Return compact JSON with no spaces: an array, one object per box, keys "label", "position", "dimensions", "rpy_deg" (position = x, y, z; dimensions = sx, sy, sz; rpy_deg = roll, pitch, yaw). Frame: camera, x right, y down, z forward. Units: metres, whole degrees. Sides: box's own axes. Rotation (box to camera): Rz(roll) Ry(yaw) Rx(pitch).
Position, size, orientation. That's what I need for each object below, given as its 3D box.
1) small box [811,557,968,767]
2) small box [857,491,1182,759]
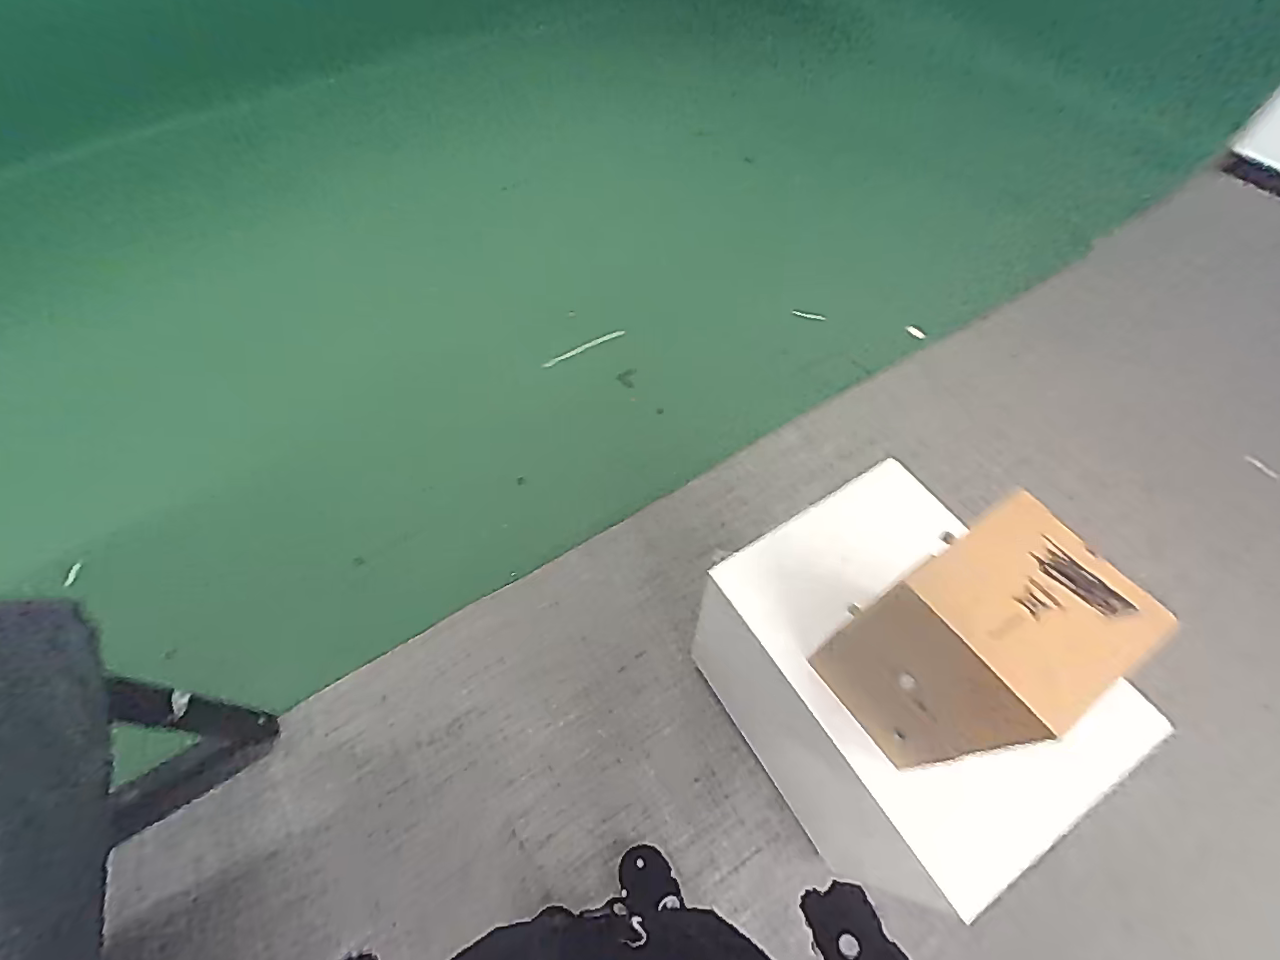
[{"label":"small box","position":[0.349,0.235,0.682],"dimensions":[0.168,0.176,0.179],"rpy_deg":[-31,61,-17]},{"label":"small box","position":[0.354,0.149,0.542],"dimensions":[0.179,0.176,0.168],"rpy_deg":[-32,63,-19]}]
